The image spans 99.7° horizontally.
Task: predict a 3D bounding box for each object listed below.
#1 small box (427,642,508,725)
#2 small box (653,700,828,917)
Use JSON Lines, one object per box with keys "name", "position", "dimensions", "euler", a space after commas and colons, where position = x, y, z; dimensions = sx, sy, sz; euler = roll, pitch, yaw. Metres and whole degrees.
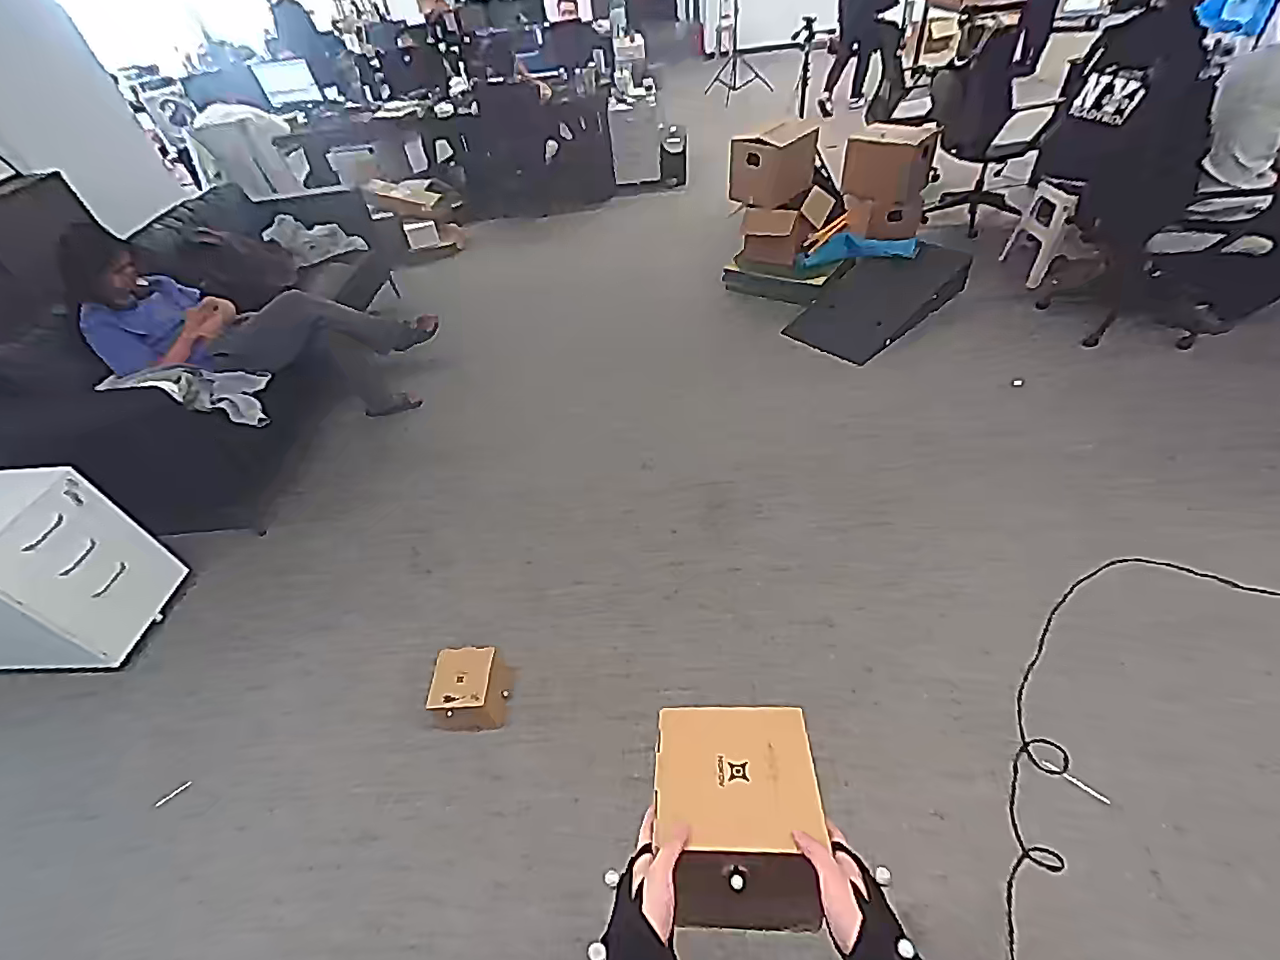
{"name": "small box", "position": [-0.496, 0.599, 1.588], "dimensions": [0.168, 0.176, 0.179], "euler": [-4, 45, 5]}
{"name": "small box", "position": [0.112, 0.387, 0.643], "dimensions": [0.179, 0.176, 0.168], "euler": [-2, 31, 5]}
